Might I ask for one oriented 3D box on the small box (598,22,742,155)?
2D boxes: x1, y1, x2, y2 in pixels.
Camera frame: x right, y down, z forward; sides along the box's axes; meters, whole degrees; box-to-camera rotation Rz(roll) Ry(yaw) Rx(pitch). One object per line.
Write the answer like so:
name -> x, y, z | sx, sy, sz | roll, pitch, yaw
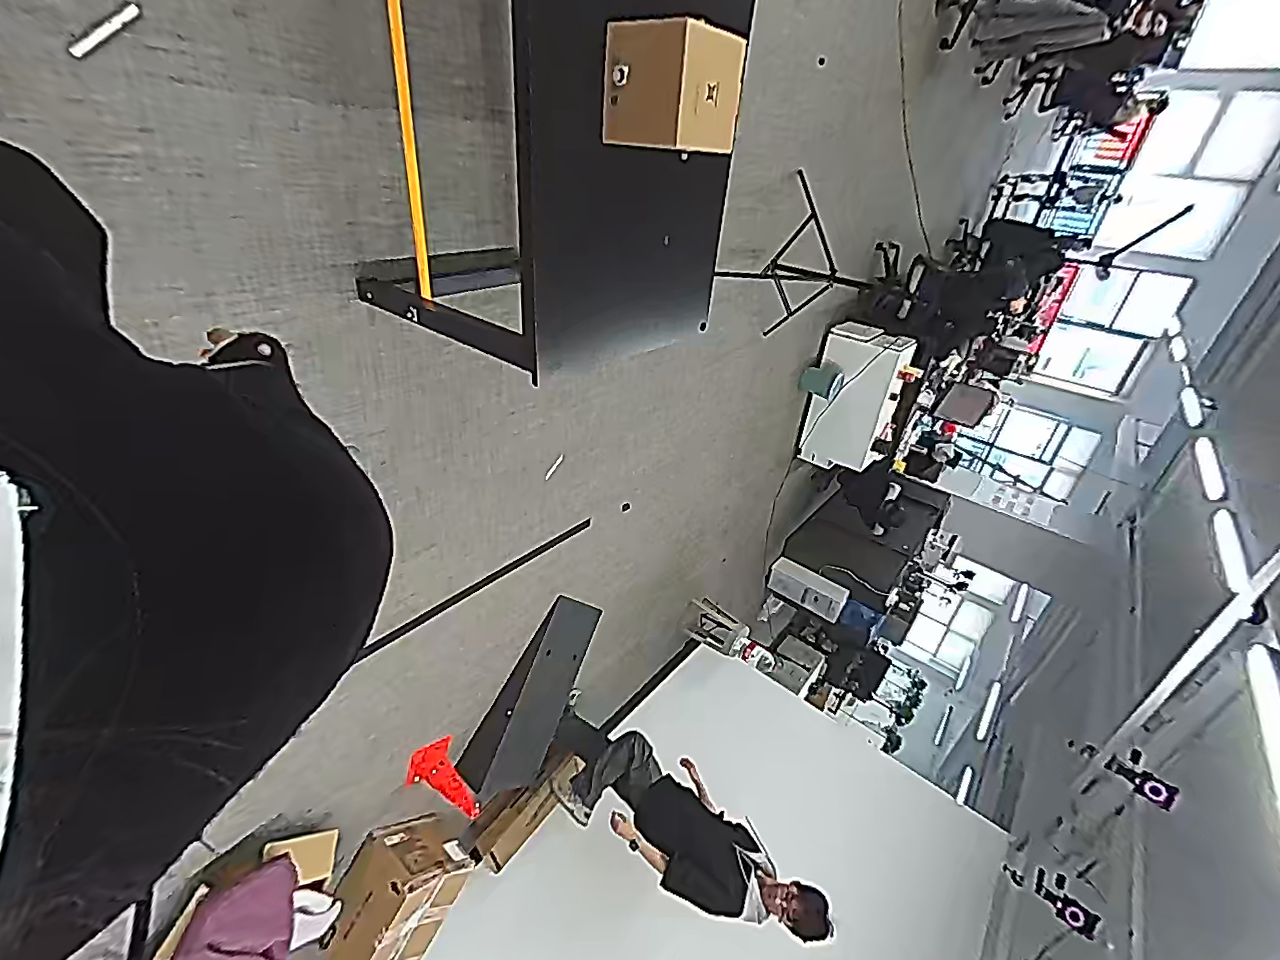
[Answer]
small box -> 0.049, -0.665, 0.930 | 0.179, 0.176, 0.168 | -30, 135, -42
